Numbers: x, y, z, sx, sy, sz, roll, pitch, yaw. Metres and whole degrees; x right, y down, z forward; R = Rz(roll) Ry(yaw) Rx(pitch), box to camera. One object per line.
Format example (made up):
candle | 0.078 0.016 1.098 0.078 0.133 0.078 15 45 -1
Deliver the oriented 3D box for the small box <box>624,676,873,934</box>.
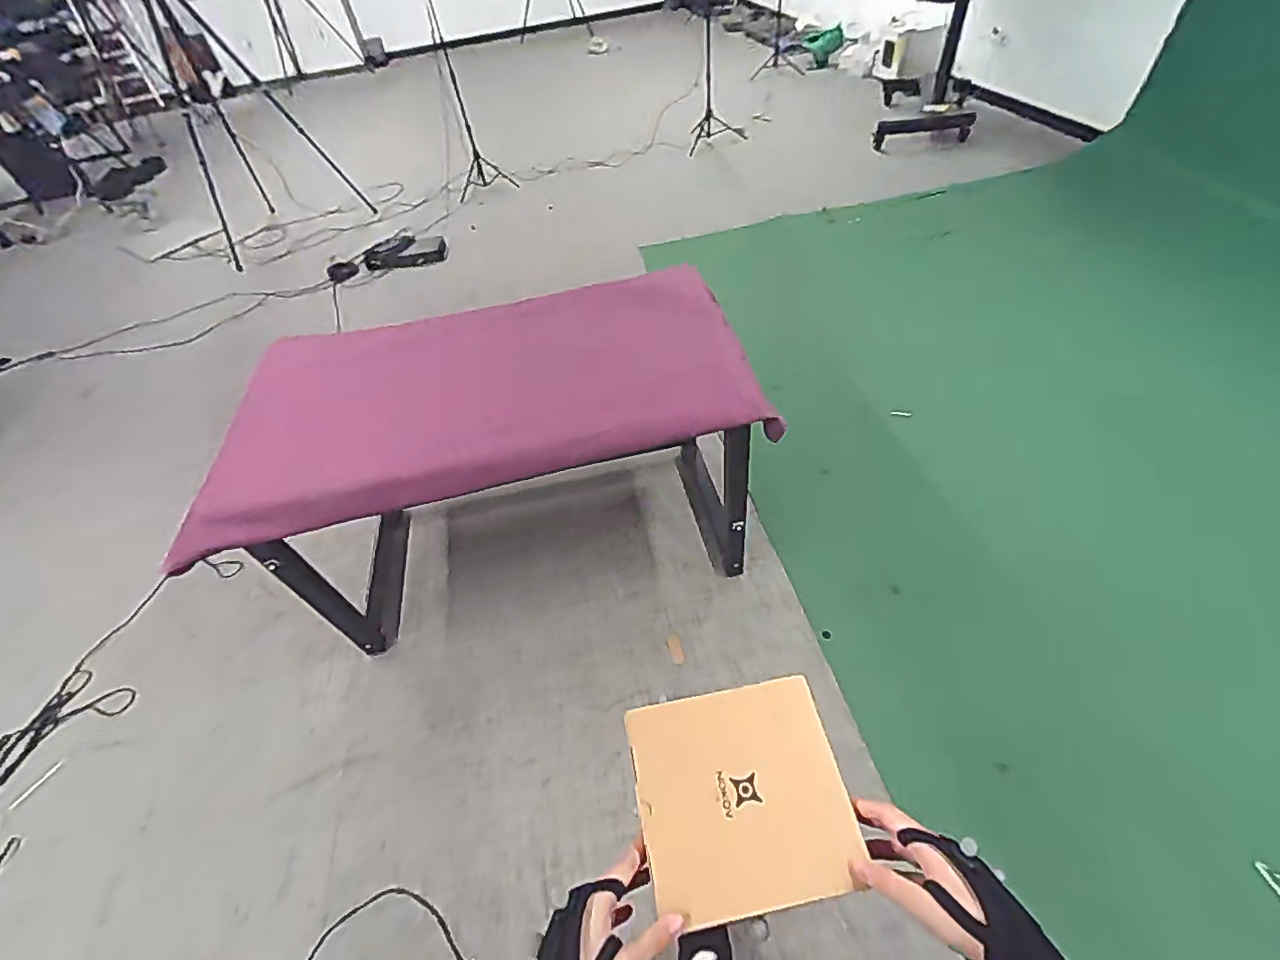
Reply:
small box | 0.090 0.311 0.526 0.179 0.176 0.168 -12 53 -2
